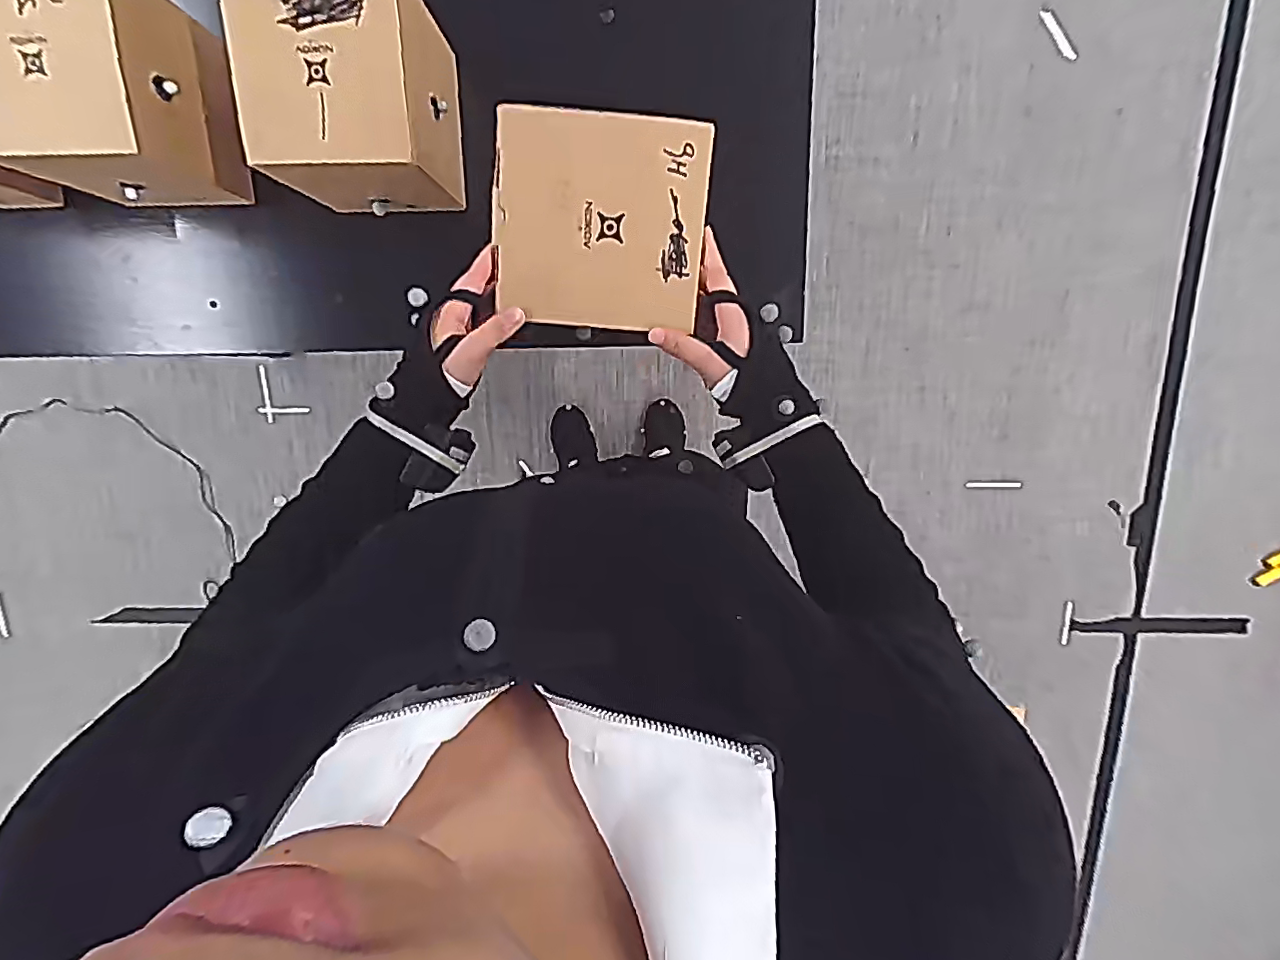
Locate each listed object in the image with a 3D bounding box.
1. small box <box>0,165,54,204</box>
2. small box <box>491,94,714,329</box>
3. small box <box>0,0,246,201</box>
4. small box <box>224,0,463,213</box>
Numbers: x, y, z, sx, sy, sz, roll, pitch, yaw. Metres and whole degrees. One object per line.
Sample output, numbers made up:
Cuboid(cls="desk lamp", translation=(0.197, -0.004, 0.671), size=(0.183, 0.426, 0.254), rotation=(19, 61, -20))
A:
Cuboid(cls="small box", translation=(-0.807, -0.413, 0.585), size=(0.168, 0.176, 0.179), rotation=(-2, 101, -1))
Cuboid(cls="small box", translation=(-0.033, -0.240, 0.526), size=(0.179, 0.176, 0.168), rotation=(6, 105, -1))
Cuboid(cls="small box", translation=(-0.567, -0.414, 0.584), size=(0.168, 0.176, 0.179), rotation=(-1, 101, -1))
Cuboid(cls="small box", translation=(-0.302, -0.408, 0.587), size=(0.168, 0.176, 0.179), rotation=(0, 102, 0))
